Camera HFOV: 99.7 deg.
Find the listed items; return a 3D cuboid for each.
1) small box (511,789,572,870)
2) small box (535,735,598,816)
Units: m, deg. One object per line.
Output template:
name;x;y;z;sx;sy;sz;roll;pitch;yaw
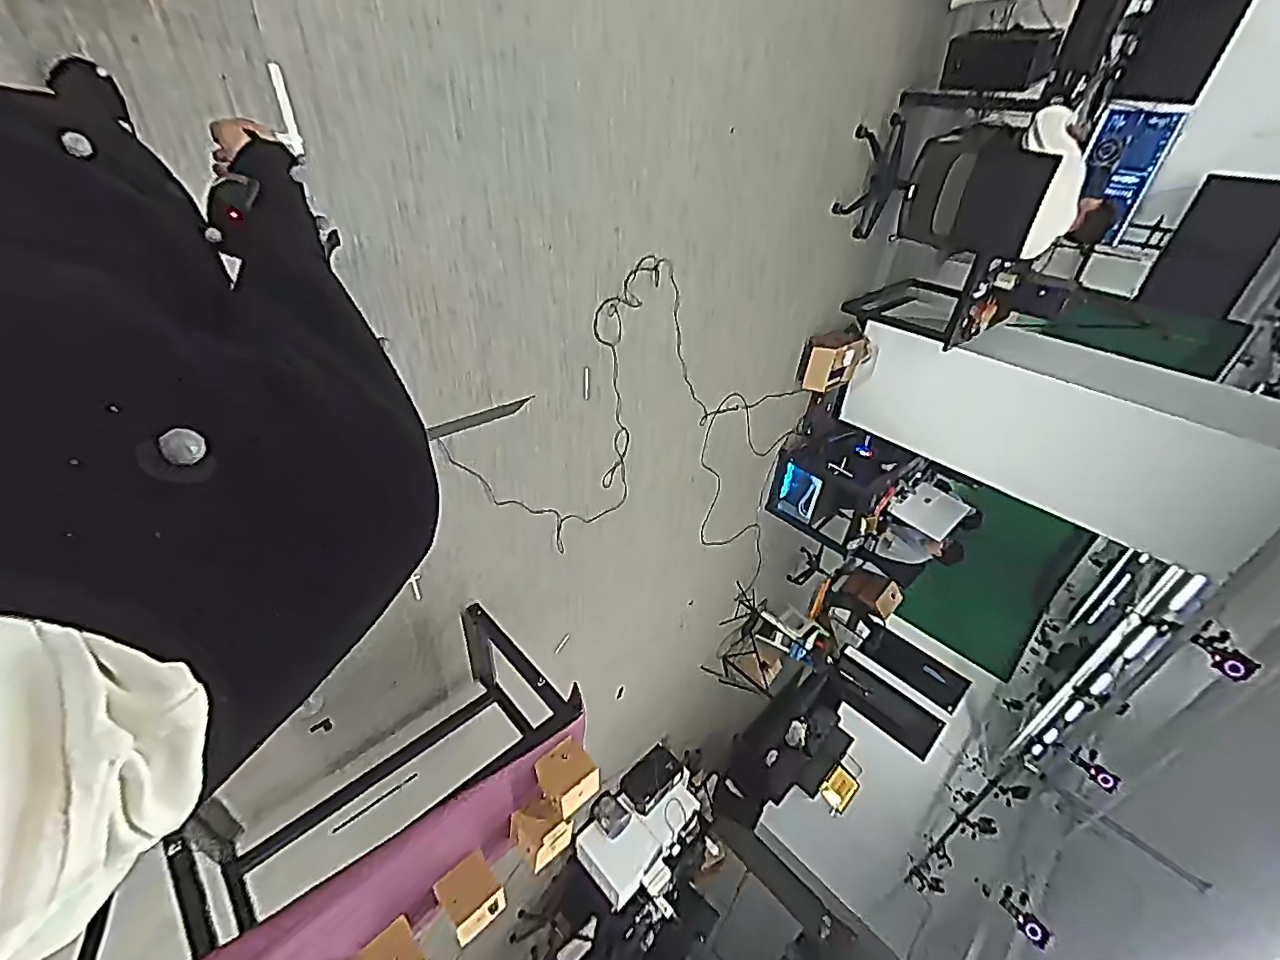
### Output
small box;-0.380;1.322;2.066;0.168;0.176;0.179;-21;132;-41
small box;-0.271;1.091;2.008;0.168;0.176;0.179;-28;137;-33
